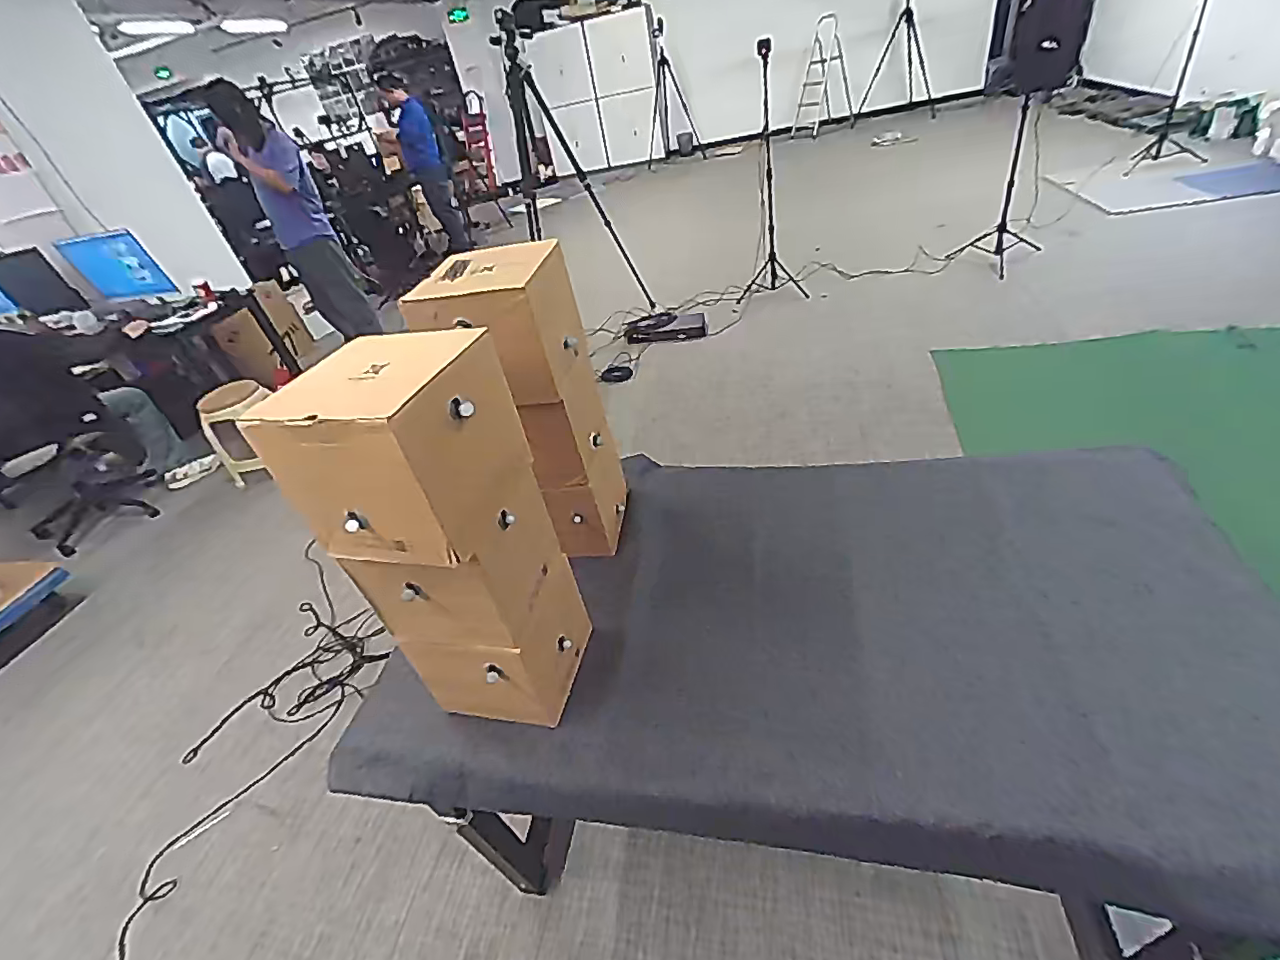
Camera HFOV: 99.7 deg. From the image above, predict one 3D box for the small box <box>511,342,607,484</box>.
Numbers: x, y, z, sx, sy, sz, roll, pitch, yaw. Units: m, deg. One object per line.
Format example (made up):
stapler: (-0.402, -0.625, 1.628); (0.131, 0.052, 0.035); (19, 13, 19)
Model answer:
small box: (-0.166, -0.104, 0.878); (0.179, 0.176, 0.168); (-3, 42, 11)

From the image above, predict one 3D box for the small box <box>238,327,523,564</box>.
small box: (-0.236, -0.039, 0.550); (0.168, 0.176, 0.179); (1, 39, 17)

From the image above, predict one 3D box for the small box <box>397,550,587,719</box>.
small box: (-0.189, 0.210, 0.755); (0.179, 0.176, 0.168); (0, 38, 17)

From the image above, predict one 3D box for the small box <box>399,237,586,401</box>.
small box: (-0.193, -0.222, 0.766); (0.179, 0.176, 0.168); (-1, 42, 13)

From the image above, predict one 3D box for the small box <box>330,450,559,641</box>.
small box: (-0.221, 0.080, 0.662); (0.179, 0.176, 0.168); (-2, 38, 14)
